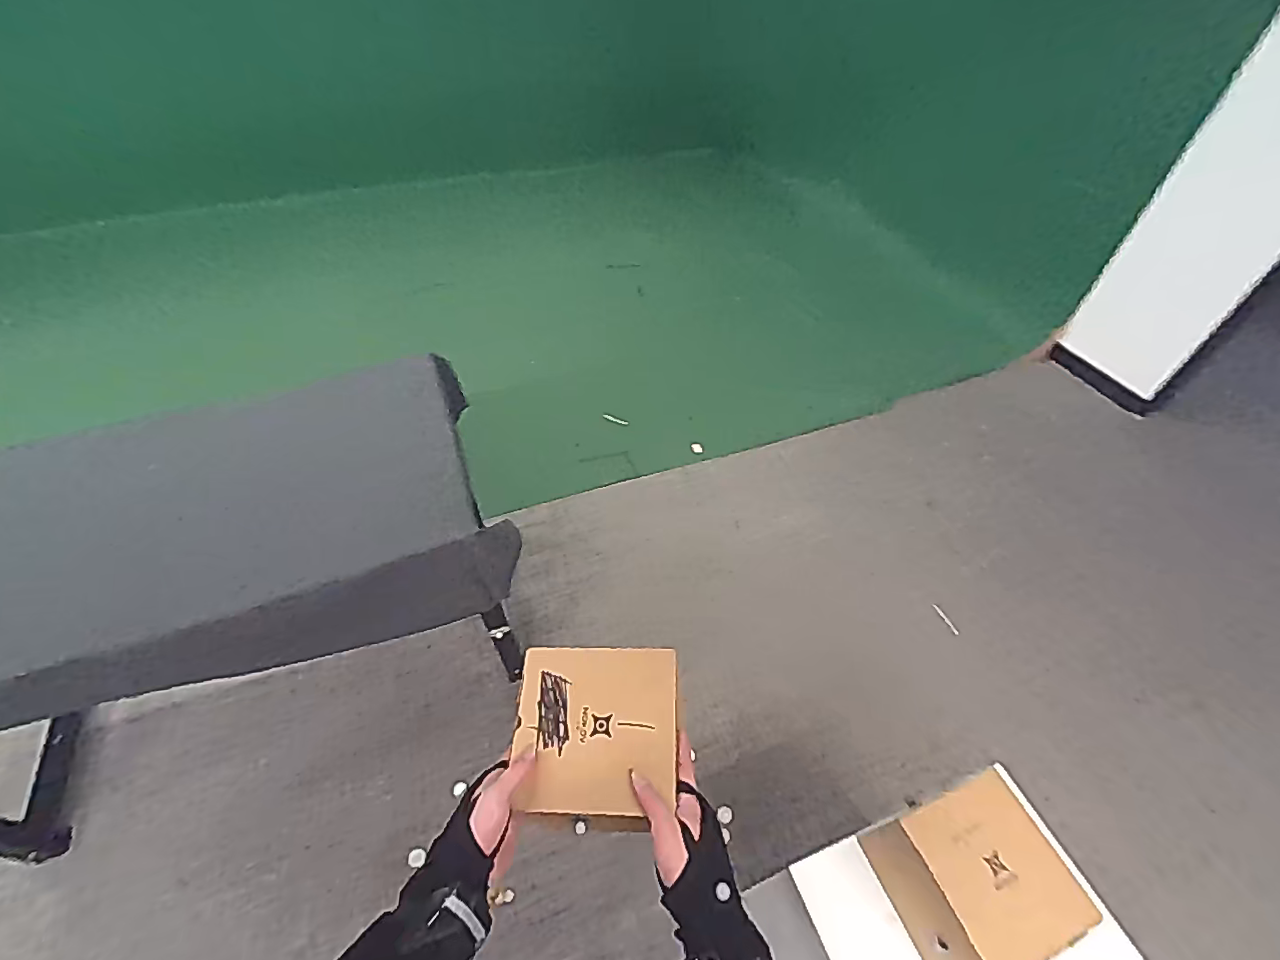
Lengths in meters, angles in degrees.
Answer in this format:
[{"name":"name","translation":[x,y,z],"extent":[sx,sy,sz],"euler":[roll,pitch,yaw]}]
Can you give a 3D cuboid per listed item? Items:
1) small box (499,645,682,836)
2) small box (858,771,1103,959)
[{"name":"small box","translation":[-0.041,0.299,0.614],"extent":[0.179,0.176,0.168],"euler":[0,52,3]},{"name":"small box","translation":[0.429,0.525,0.714],"extent":[0.168,0.176,0.179],"euler":[-15,51,-18]}]
